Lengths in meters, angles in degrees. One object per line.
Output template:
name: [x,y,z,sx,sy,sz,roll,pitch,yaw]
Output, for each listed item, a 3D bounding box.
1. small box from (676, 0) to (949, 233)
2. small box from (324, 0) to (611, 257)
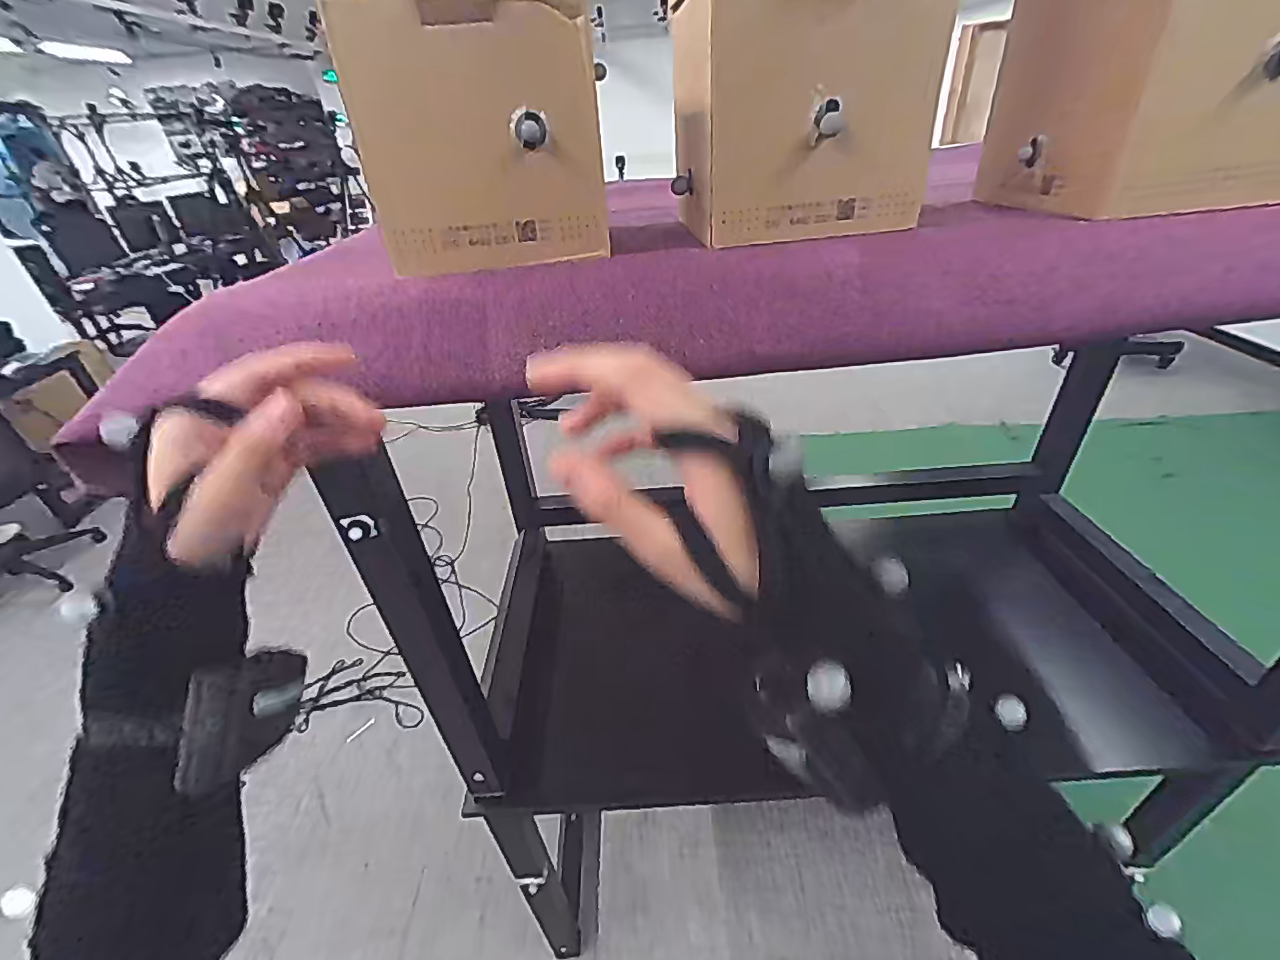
small box: [0.124,-0.307,0.444,0.168,0.176,0.179,-6,34,-2]
small box: [-0.115,-0.285,0.442,0.168,0.176,0.179,-6,33,-4]
